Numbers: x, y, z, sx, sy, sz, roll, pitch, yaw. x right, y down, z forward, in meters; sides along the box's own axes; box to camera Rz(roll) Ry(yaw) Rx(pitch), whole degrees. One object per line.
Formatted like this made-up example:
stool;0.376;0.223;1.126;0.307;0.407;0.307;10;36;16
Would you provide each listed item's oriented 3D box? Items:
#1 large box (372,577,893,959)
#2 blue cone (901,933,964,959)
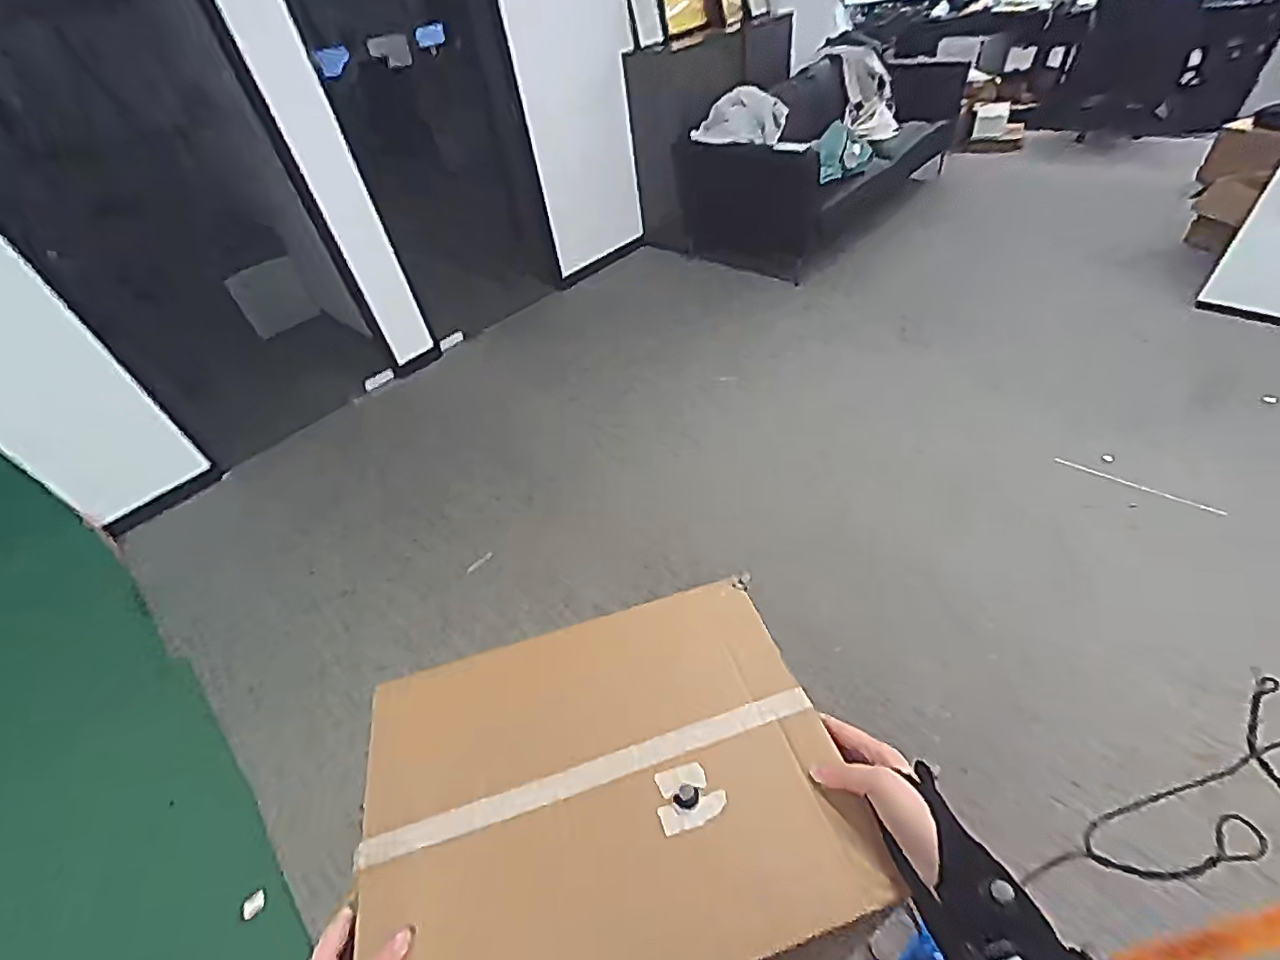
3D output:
large box;-0.023;0.366;0.589;0.408;0.320;0.320;-14;42;-10
blue cone;0.561;0.887;0.908;0.192;0.380;0.193;-33;48;-22
